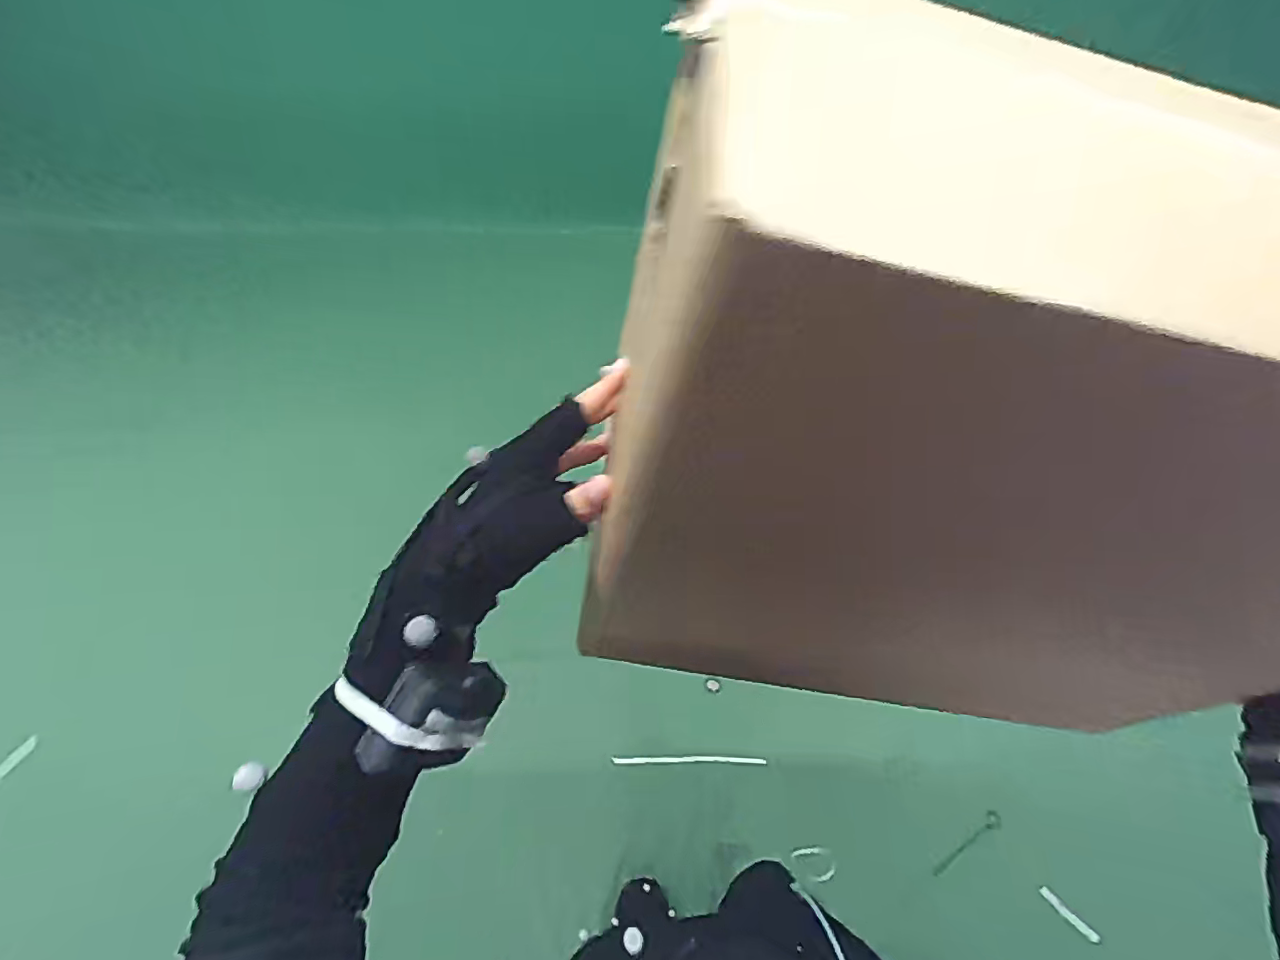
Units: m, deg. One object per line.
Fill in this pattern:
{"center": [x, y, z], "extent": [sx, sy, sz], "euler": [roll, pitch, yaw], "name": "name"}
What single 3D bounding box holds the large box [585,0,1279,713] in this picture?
{"center": [0.192, -0.058, 0.370], "extent": [0.408, 0.320, 0.320], "euler": [11, 53, -6], "name": "large box"}
